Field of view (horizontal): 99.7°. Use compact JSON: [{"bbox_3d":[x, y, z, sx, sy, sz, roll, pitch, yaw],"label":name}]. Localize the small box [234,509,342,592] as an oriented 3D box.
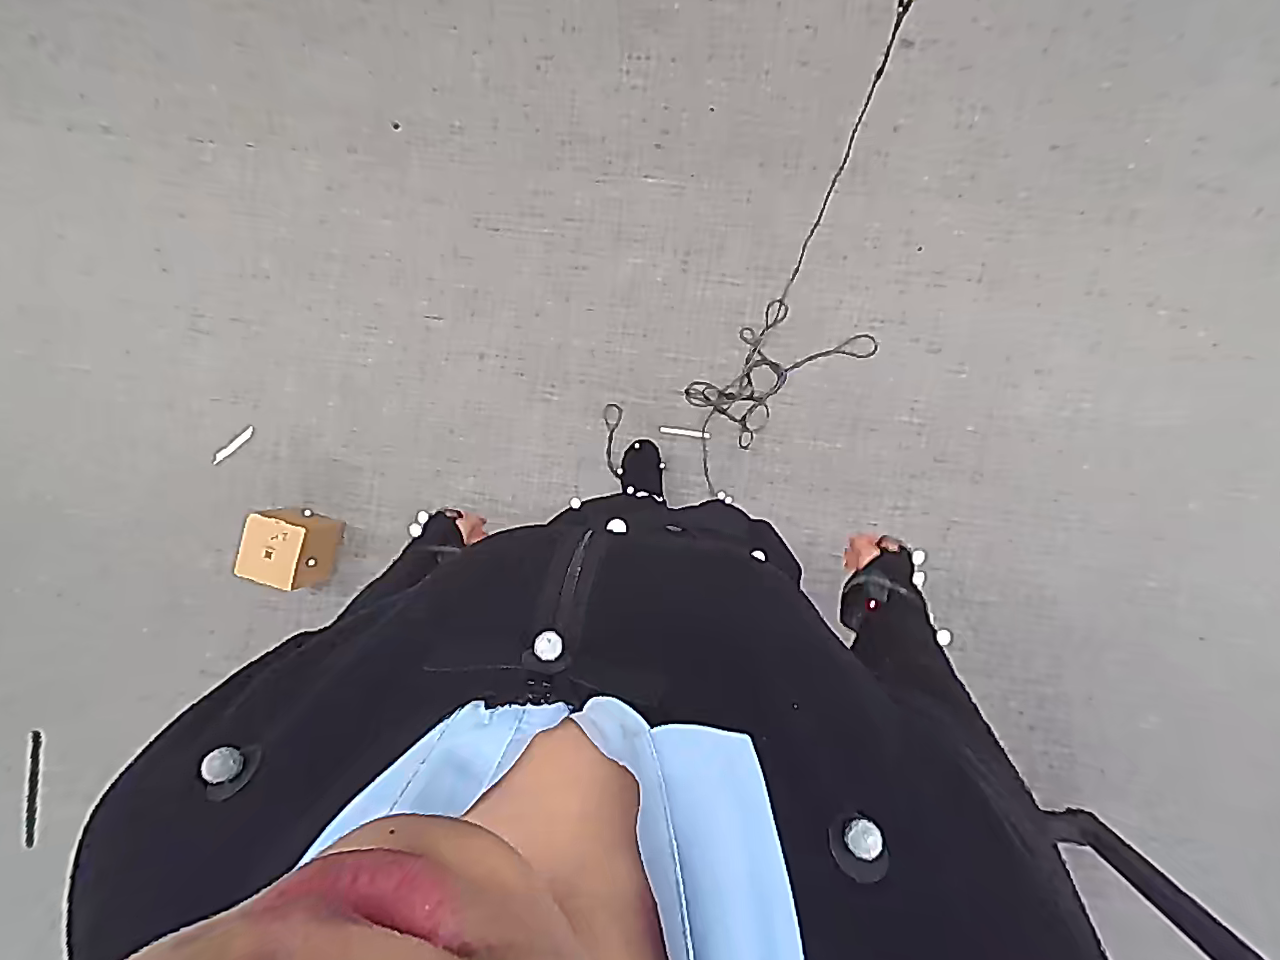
[{"bbox_3d":[-0.963,0.188,1.494,0.168,0.176,0.179,16,92,3],"label":"small box"}]
